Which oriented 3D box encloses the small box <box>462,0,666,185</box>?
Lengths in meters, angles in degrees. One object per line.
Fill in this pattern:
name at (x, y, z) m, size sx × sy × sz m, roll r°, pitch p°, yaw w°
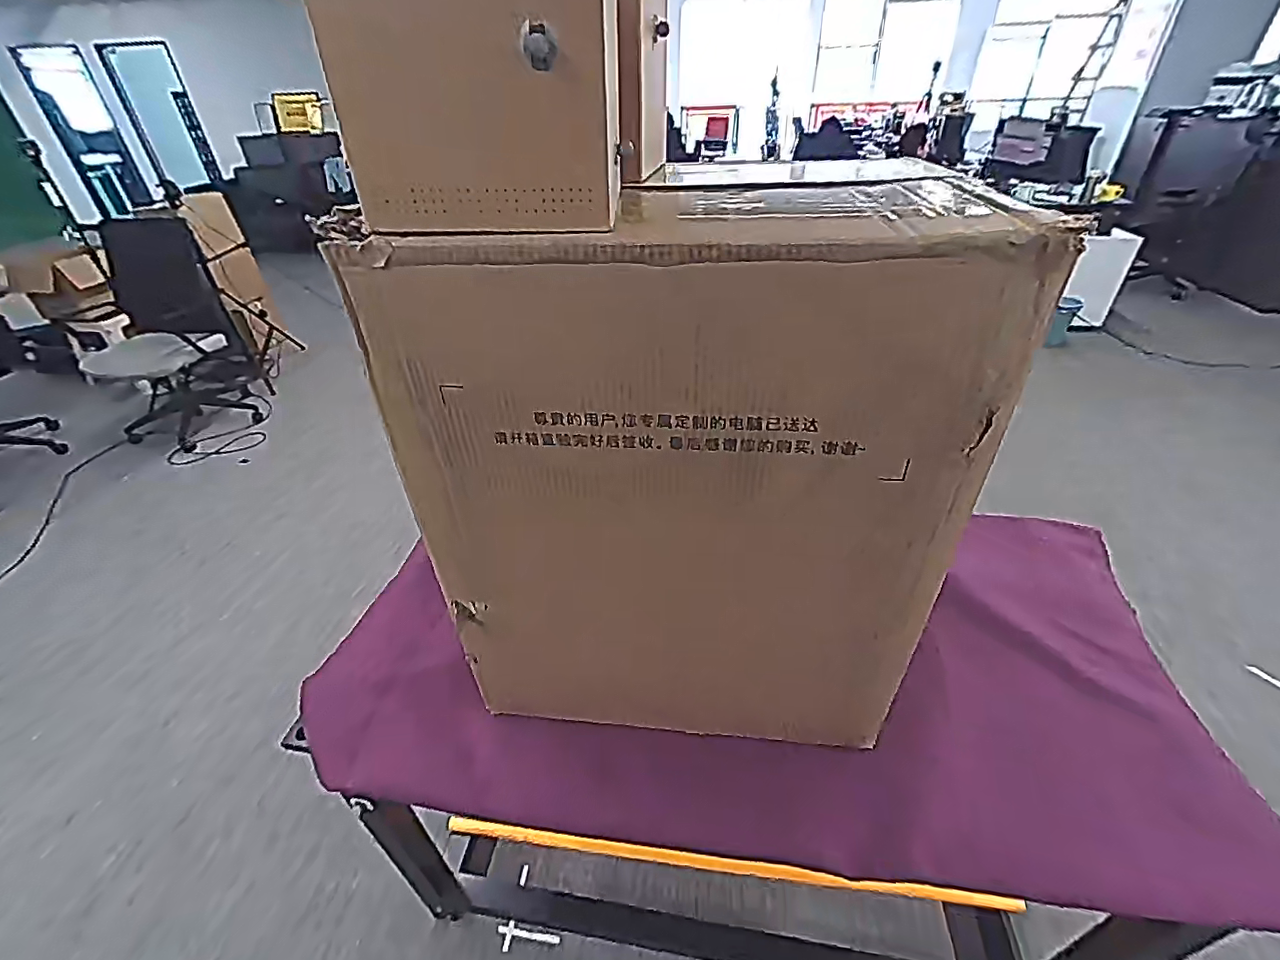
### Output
small box at (-0.063, -0.419, 0.576) m, size 0.168 × 0.176 × 0.179 m, roll 6°, pitch 36°, yaw 8°
